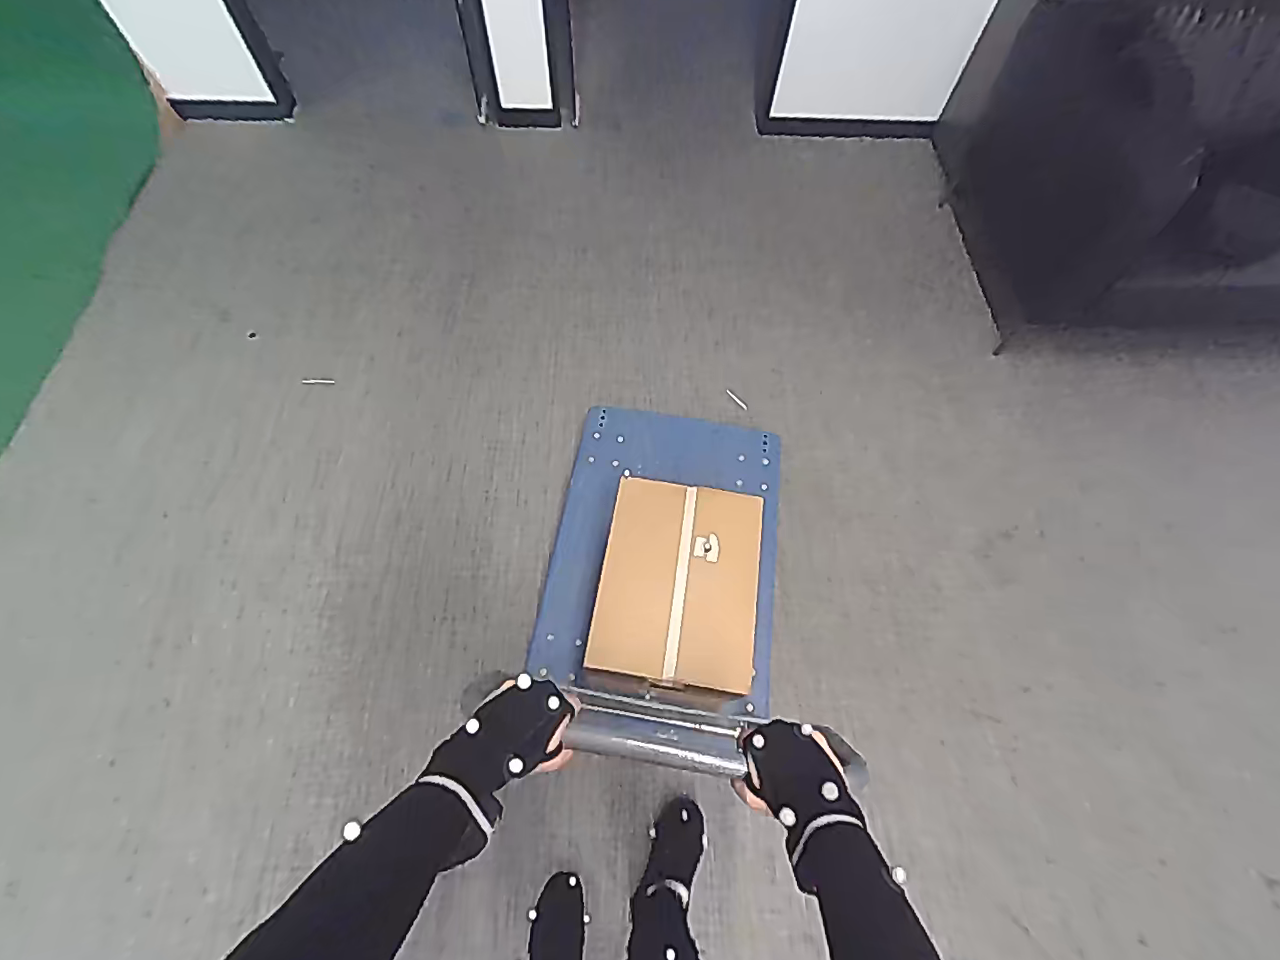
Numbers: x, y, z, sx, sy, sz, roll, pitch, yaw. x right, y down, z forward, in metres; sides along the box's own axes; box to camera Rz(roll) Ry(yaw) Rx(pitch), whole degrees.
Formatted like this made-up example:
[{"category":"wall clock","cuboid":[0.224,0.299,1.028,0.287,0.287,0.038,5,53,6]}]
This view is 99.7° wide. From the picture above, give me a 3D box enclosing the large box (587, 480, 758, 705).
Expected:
[{"category":"large box","cuboid":[0.072,0.263,1.217,0.320,0.320,0.408,9,62,1]}]
